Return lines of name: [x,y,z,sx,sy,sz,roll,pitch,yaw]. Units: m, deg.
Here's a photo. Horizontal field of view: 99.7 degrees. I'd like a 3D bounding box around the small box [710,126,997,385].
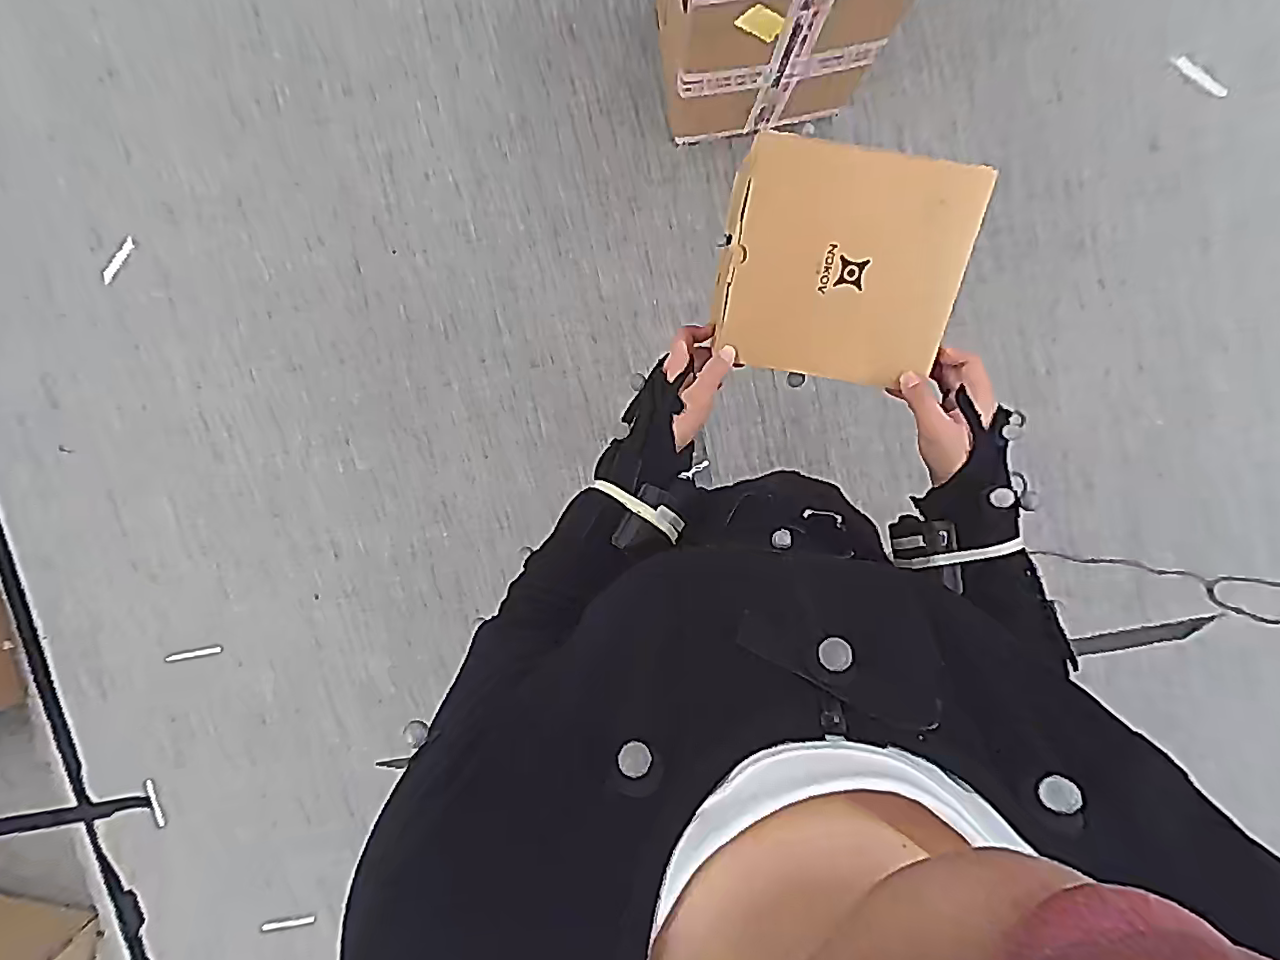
small box: [0.166,-0.196,0.491,0.179,0.176,0.168,10,111,2]
